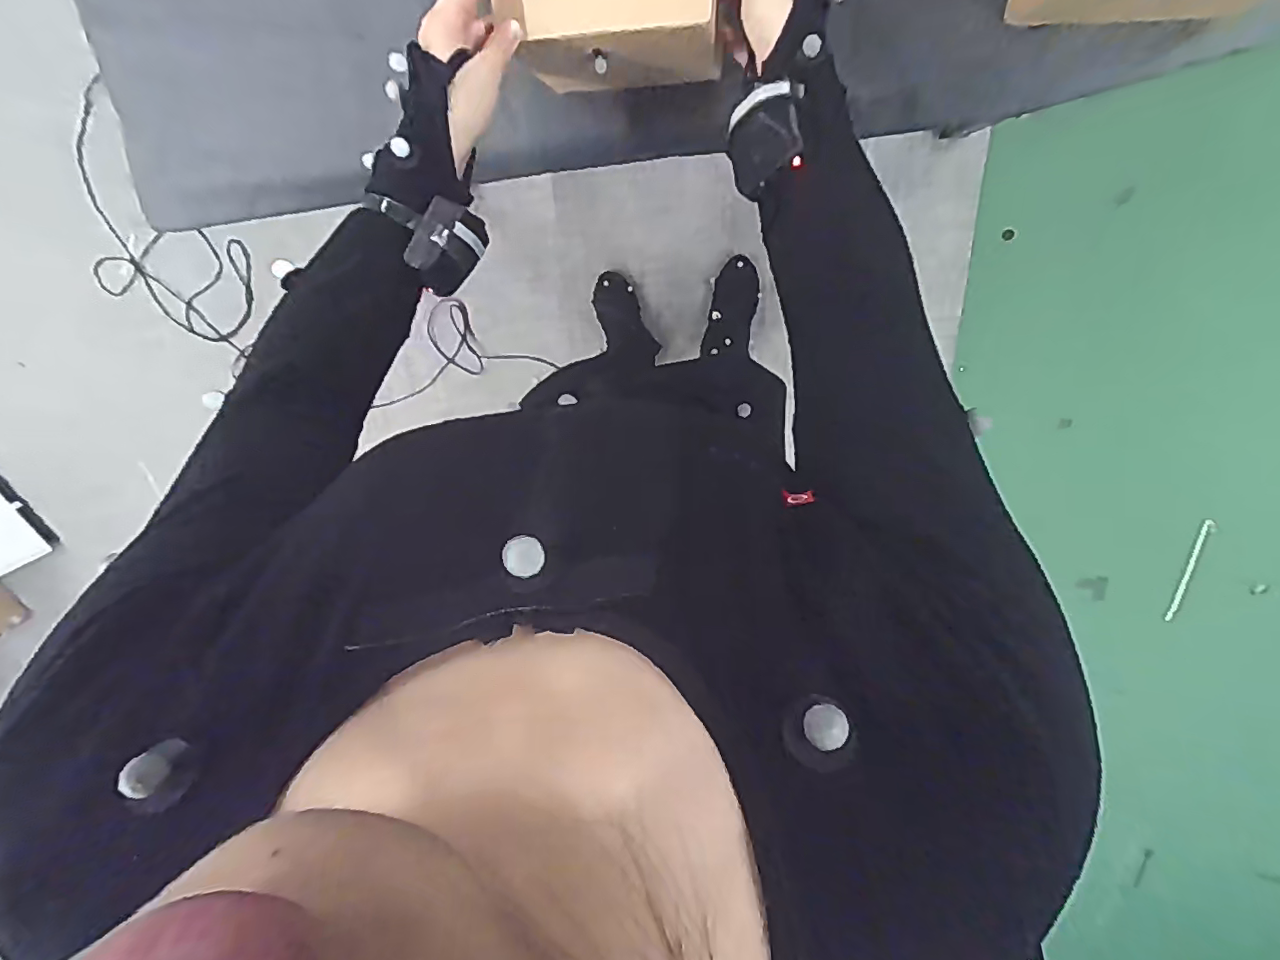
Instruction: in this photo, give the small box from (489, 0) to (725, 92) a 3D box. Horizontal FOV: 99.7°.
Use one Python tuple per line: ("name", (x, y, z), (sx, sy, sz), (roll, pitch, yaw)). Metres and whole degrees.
("small box", (-0.019, -0.446, 0.456), (0.179, 0.176, 0.168), (3, 116, 10))
